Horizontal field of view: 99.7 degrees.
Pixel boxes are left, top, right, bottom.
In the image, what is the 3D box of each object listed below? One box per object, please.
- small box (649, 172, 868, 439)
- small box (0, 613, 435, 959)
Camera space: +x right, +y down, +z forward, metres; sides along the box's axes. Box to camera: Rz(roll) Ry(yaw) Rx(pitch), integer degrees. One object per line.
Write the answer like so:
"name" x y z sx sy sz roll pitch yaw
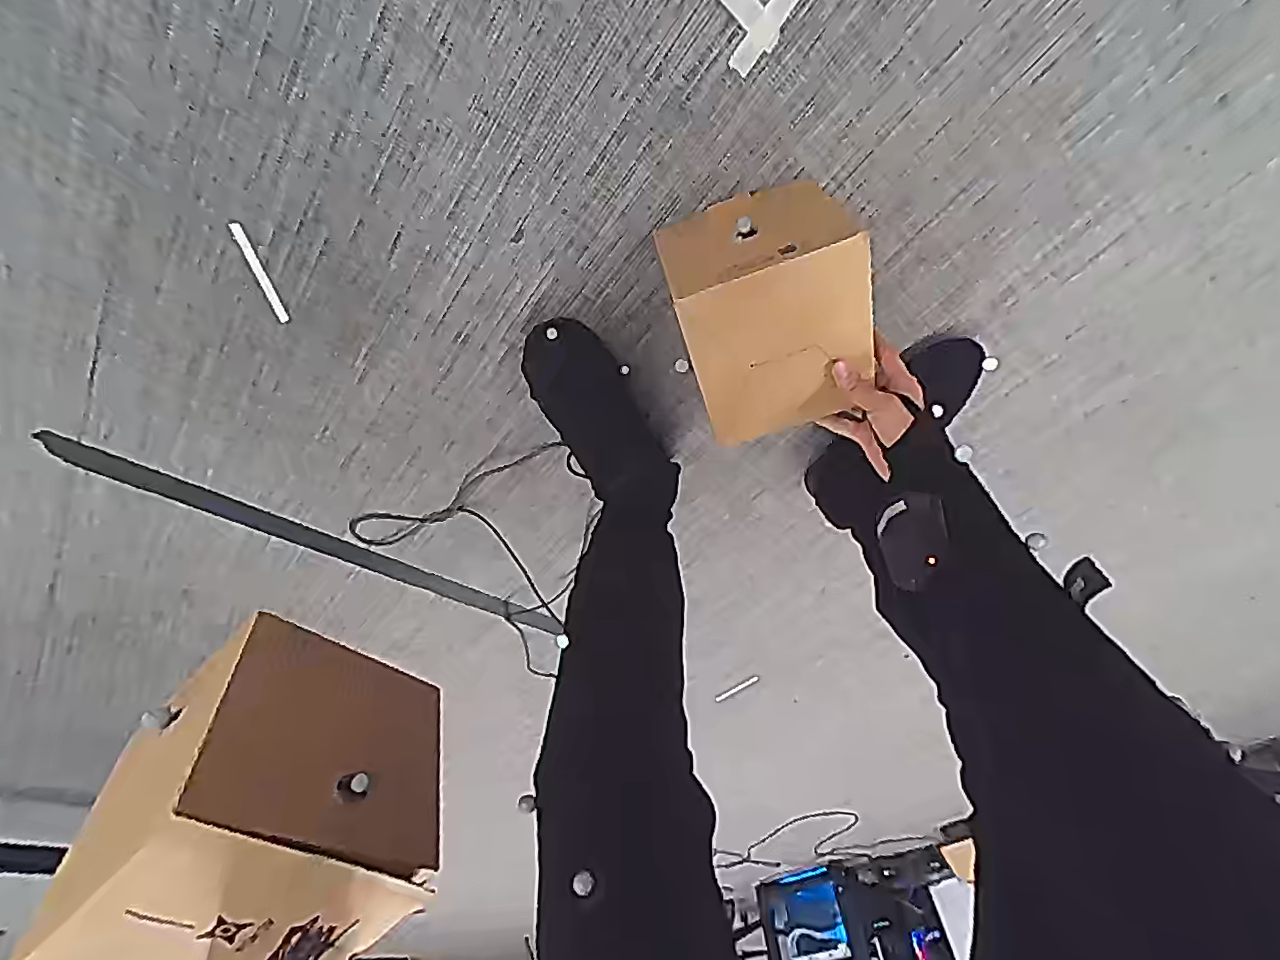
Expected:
"small box" 0.121 -0.175 0.557 0.168 0.176 0.179 -17 133 9
"small box" -0.276 0.233 0.411 0.168 0.176 0.179 -43 122 6
